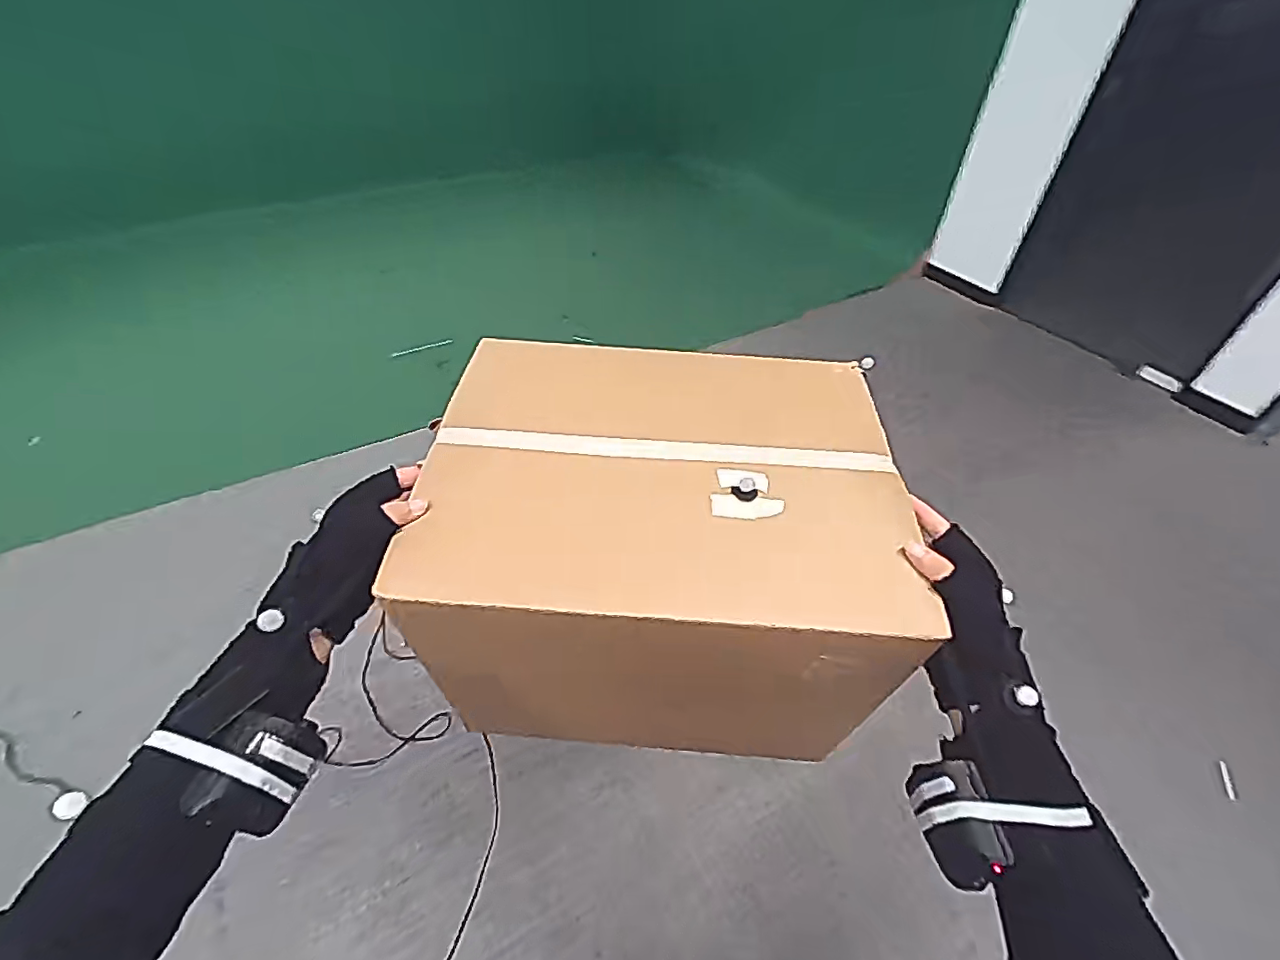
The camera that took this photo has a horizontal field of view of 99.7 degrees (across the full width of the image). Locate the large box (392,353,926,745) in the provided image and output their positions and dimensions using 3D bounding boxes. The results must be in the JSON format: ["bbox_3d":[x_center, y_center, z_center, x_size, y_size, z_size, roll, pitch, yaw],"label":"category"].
[{"bbox_3d":[0.011,0.083,0.603,0.408,0.320,0.320,4,49,-1],"label":"large box"}]
